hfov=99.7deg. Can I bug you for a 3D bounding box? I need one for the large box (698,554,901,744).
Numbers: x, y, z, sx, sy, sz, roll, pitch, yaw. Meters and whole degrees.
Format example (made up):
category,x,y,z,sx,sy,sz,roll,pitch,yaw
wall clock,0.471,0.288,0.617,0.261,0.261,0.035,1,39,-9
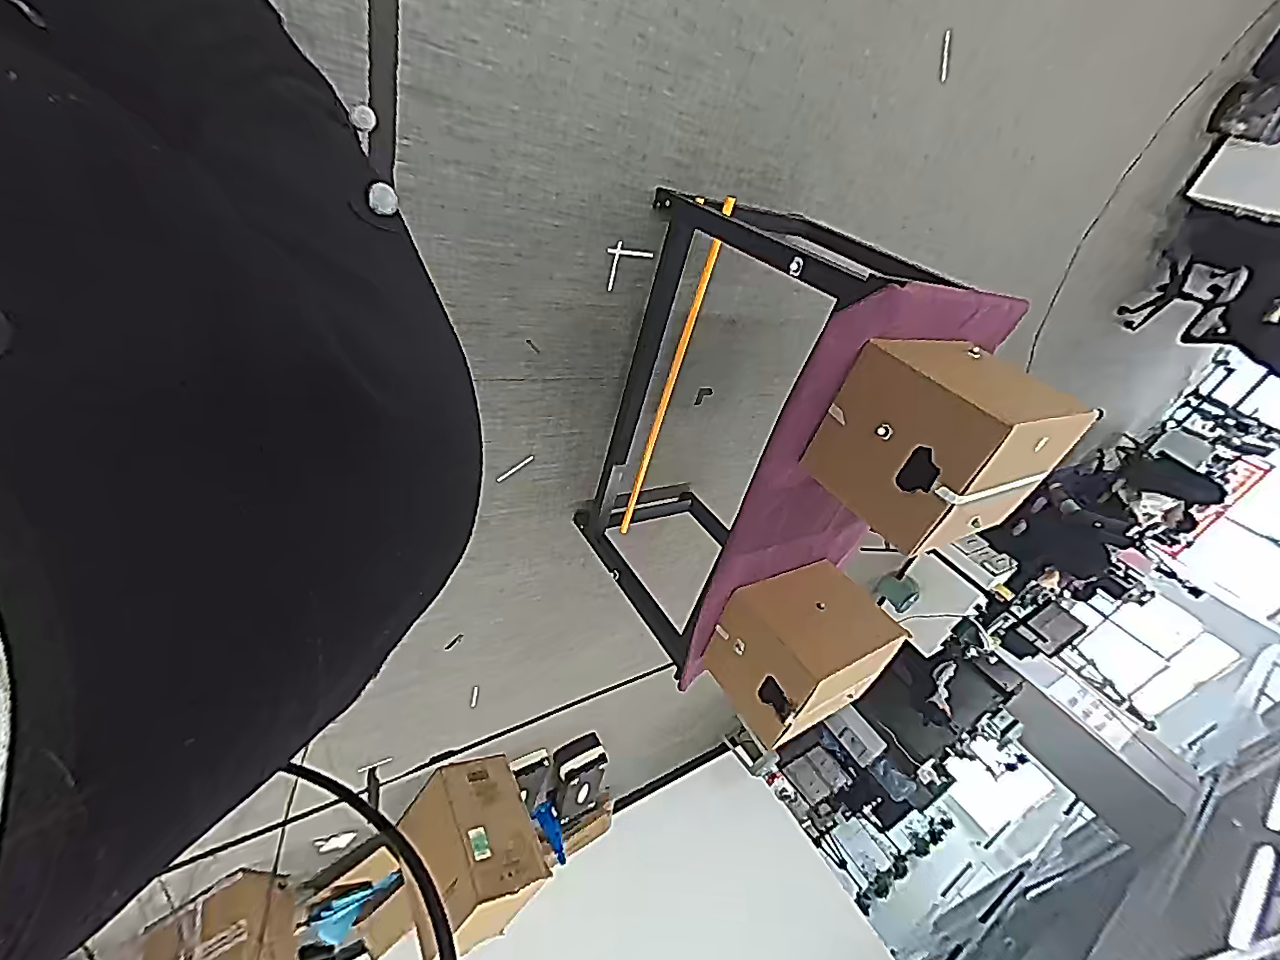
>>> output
category,x,y,z,sx,sy,sz,roll,pitch,yaw
large box,0.440,0.457,1.539,0.408,0.320,0.320,-10,133,-36
